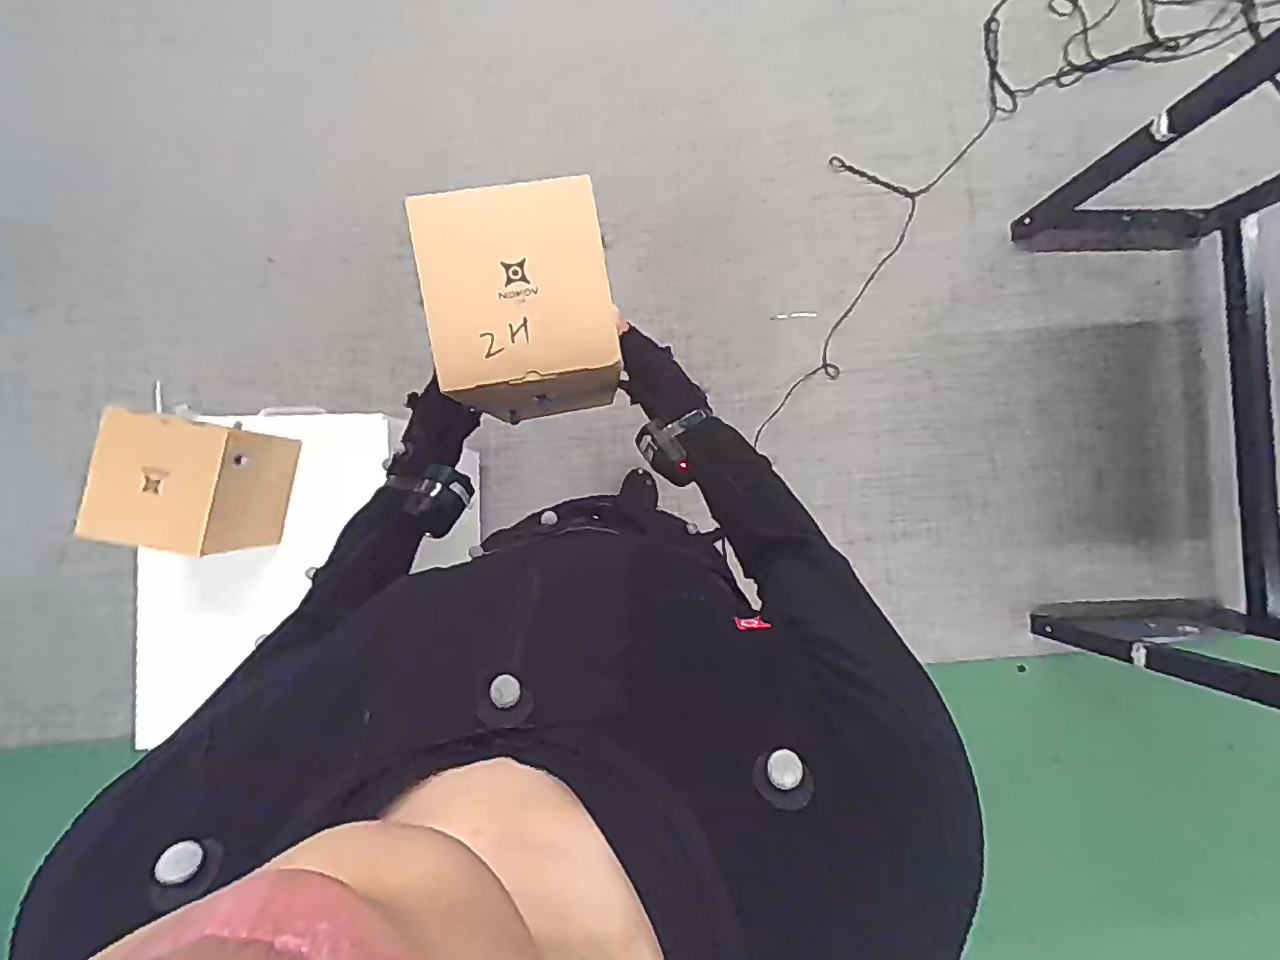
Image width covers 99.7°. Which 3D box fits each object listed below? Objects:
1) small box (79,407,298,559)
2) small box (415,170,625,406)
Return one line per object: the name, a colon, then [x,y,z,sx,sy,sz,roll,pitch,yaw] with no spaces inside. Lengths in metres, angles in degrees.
small box: [-0.637,0.007,0.787,0.168,0.176,0.179,11,87,-1]
small box: [-0.112,-0.182,0.559,0.168,0.176,0.179,-9,92,-4]
